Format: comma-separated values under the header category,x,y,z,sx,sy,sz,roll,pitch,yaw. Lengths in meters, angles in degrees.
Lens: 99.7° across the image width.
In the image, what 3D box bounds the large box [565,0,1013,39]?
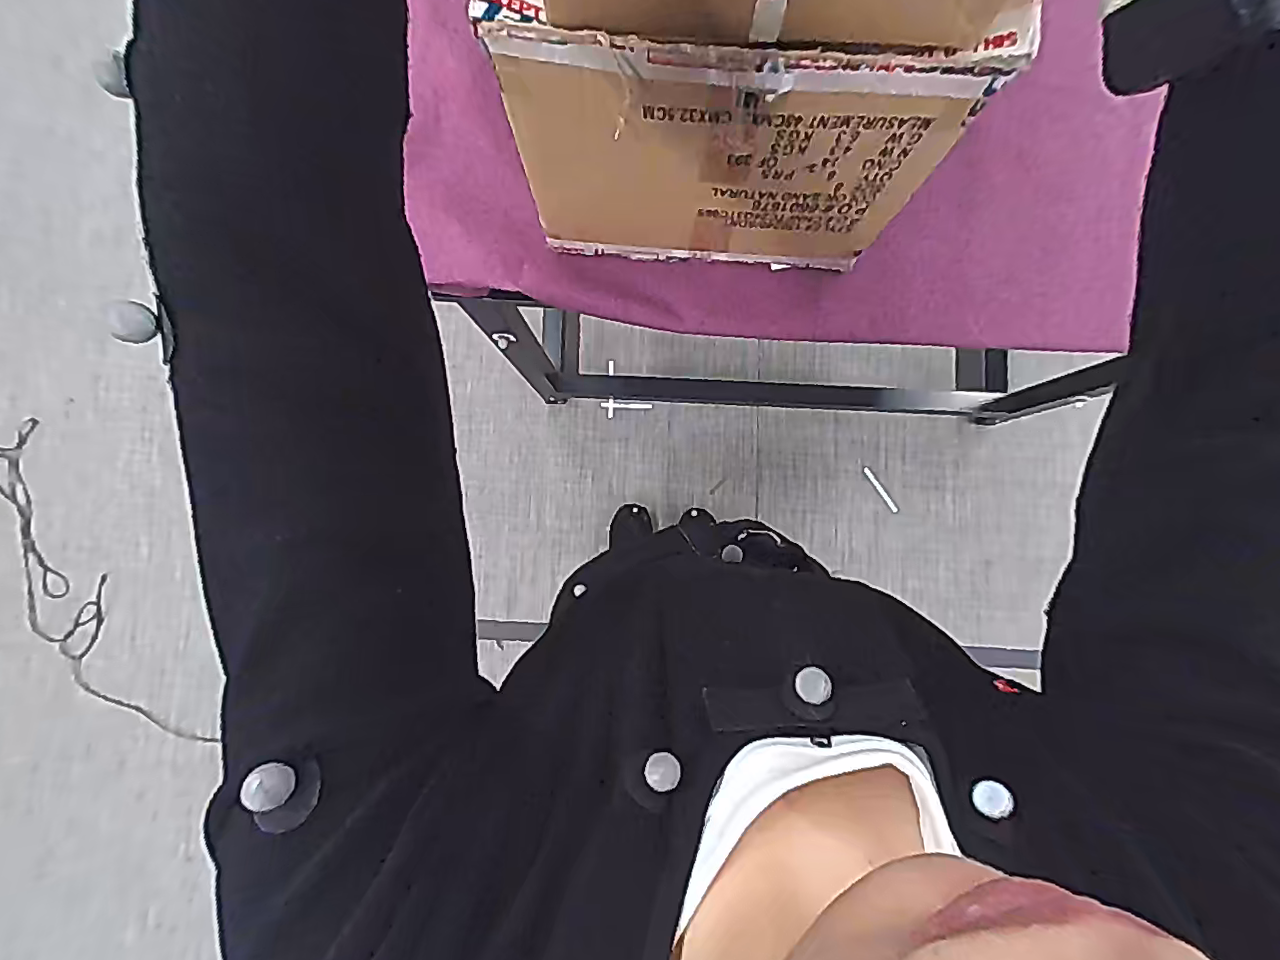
category,x,y,z,sx,sy,sz,roll,pitch,yaw
large box,0.103,-0.523,0.248,0.320,0.320,0.408,2,87,2
